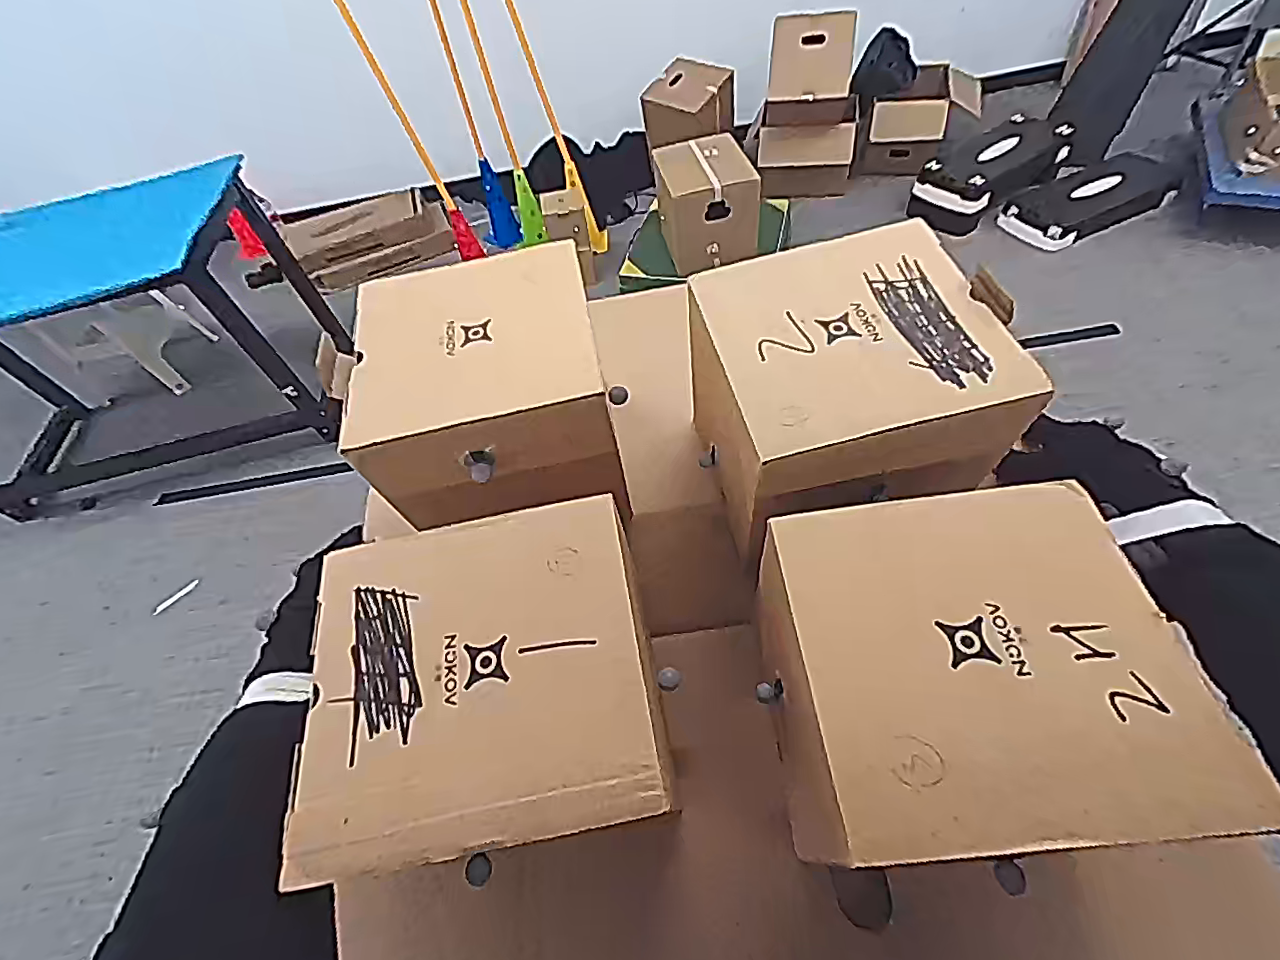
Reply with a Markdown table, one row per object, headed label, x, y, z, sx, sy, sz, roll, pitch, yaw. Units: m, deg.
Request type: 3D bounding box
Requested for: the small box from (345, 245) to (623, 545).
| label | x | y | z | sx | sy | sz | roll | pitch | yaw |
| --- | --- | --- | --- | --- | --- | --- | --- | --- | --- |
| small box | -0.114 | -0.063 | 0.463 | 0.179 | 0.176 | 0.168 | -13 | 57 | 0 |
